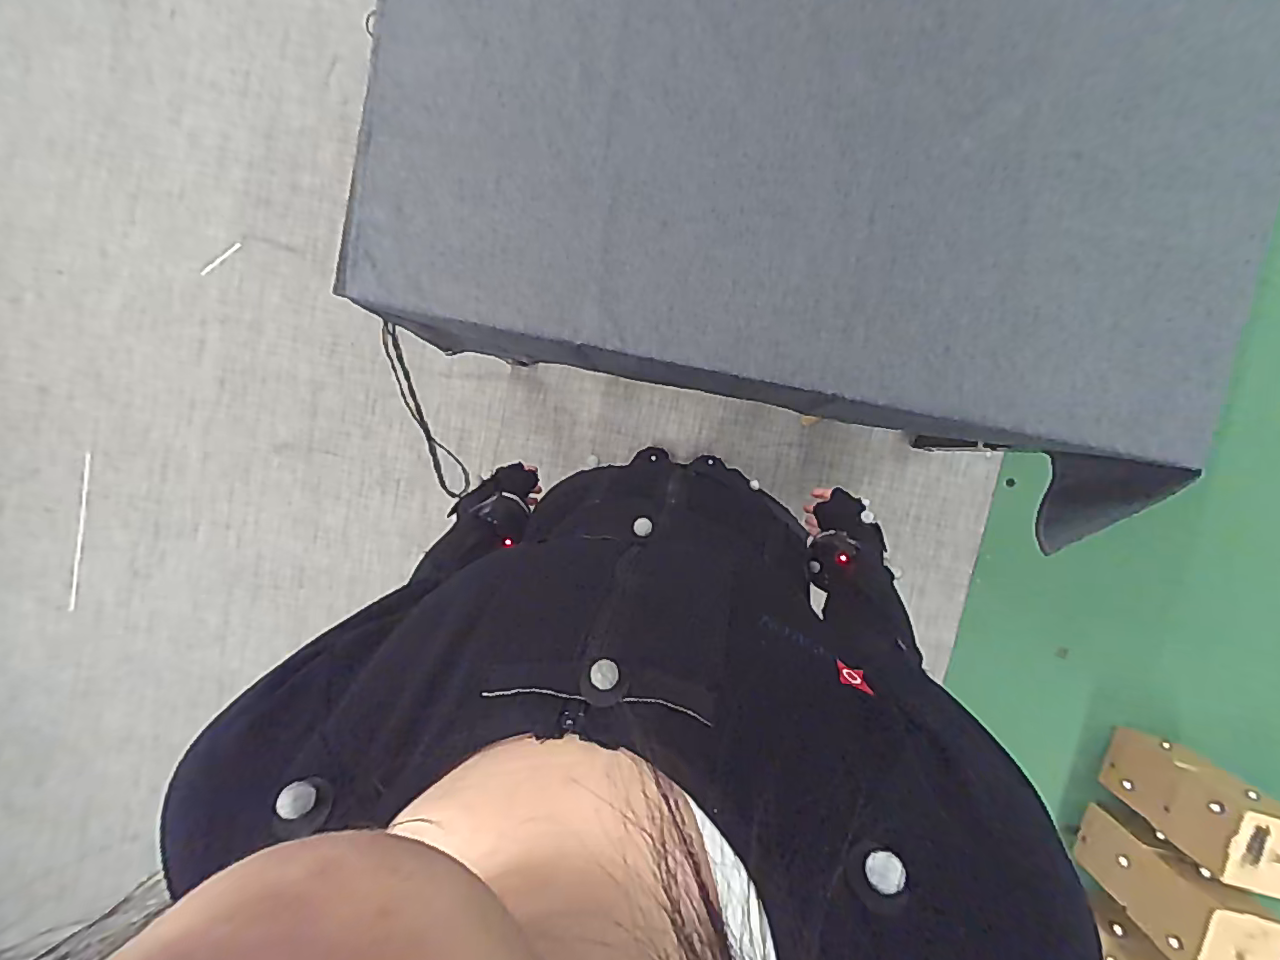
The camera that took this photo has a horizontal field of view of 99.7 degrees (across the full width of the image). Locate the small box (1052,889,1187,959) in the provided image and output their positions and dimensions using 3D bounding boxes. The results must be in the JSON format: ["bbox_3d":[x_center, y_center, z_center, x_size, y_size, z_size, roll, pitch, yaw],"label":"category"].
[{"bbox_3d":[1.231,1.211,1.400,0.179,0.176,0.168,13,95,4],"label":"small box"}]

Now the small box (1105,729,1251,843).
[{"bbox_3d":[1.342,0.760,1.364,0.179,0.176,0.168,17,95,3],"label":"small box"}]

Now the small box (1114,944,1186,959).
[{"bbox_3d":[1.218,1.221,1.236,0.179,0.176,0.168,12,95,3],"label":"small box"}]
